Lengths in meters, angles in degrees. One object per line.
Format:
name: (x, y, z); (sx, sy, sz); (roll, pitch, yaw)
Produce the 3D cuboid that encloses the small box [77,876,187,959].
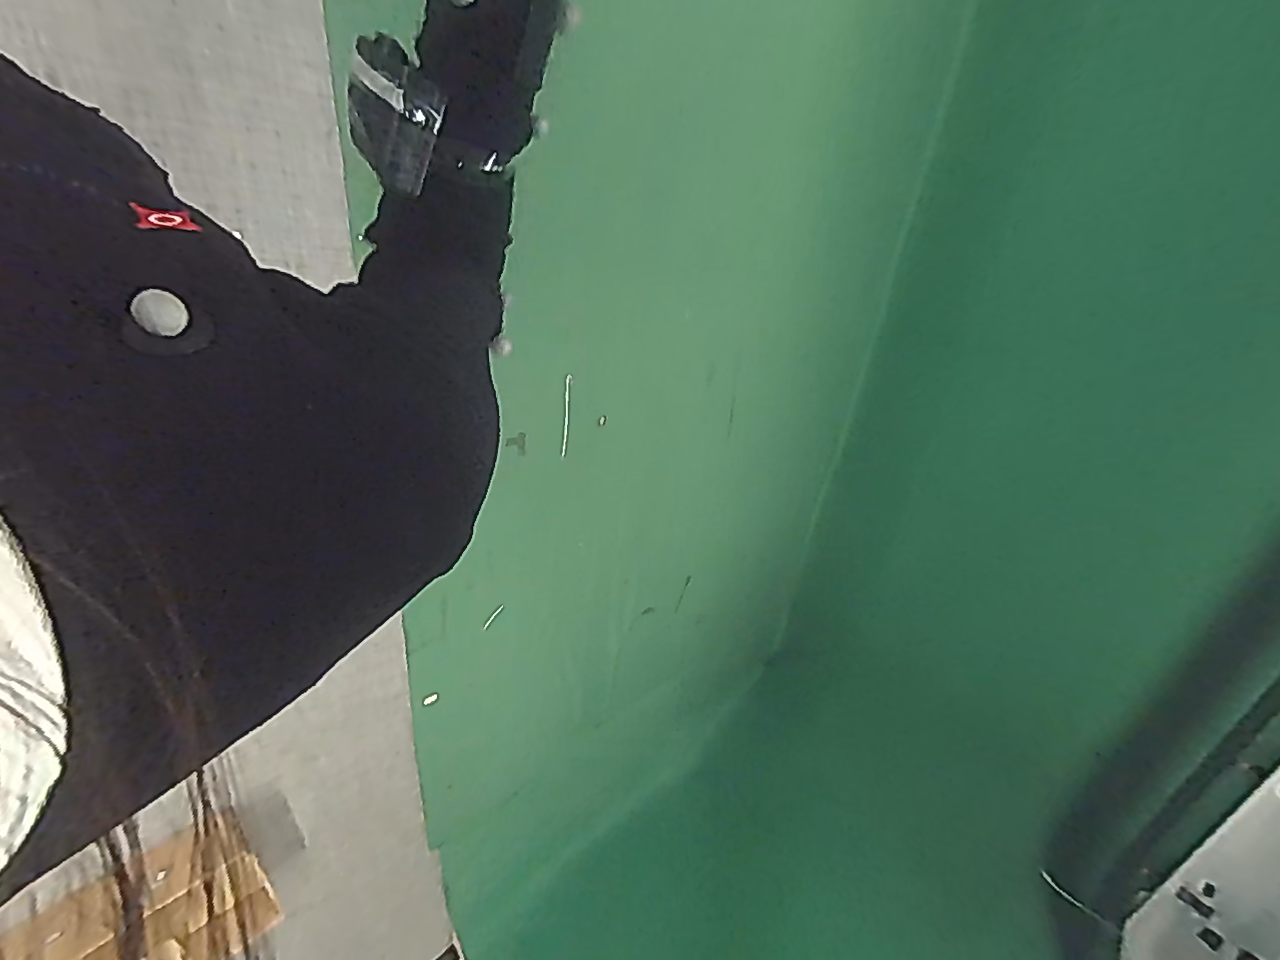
small box: (-1.372, 1.237, 1.459); (0.179, 0.176, 0.168); (-25, 132, -41)
